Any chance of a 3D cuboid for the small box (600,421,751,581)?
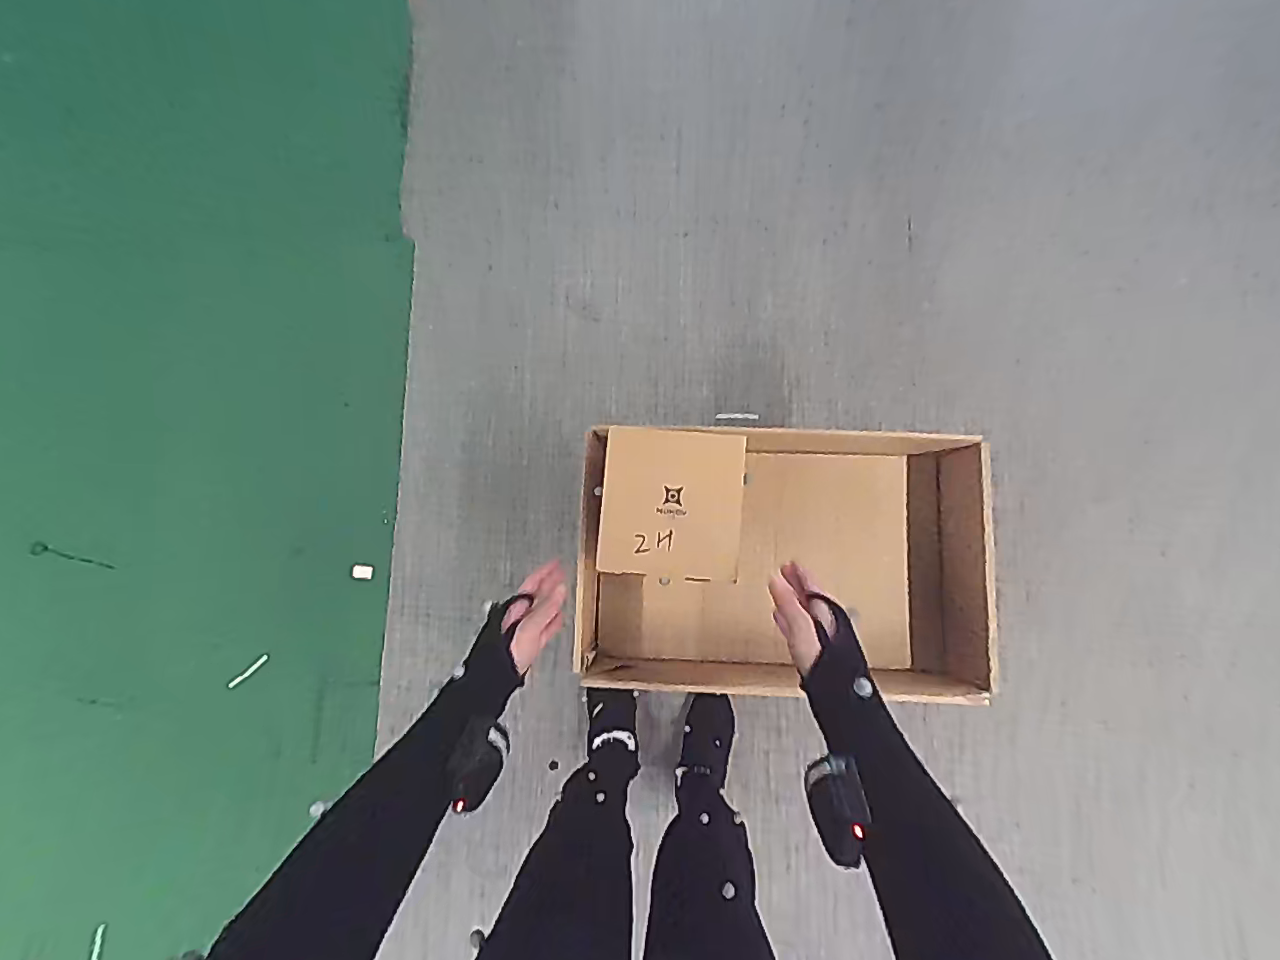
[{"bbox_3d":[0.046,0.032,0.714,0.168,0.176,0.179,5,84,4],"label":"small box"}]
